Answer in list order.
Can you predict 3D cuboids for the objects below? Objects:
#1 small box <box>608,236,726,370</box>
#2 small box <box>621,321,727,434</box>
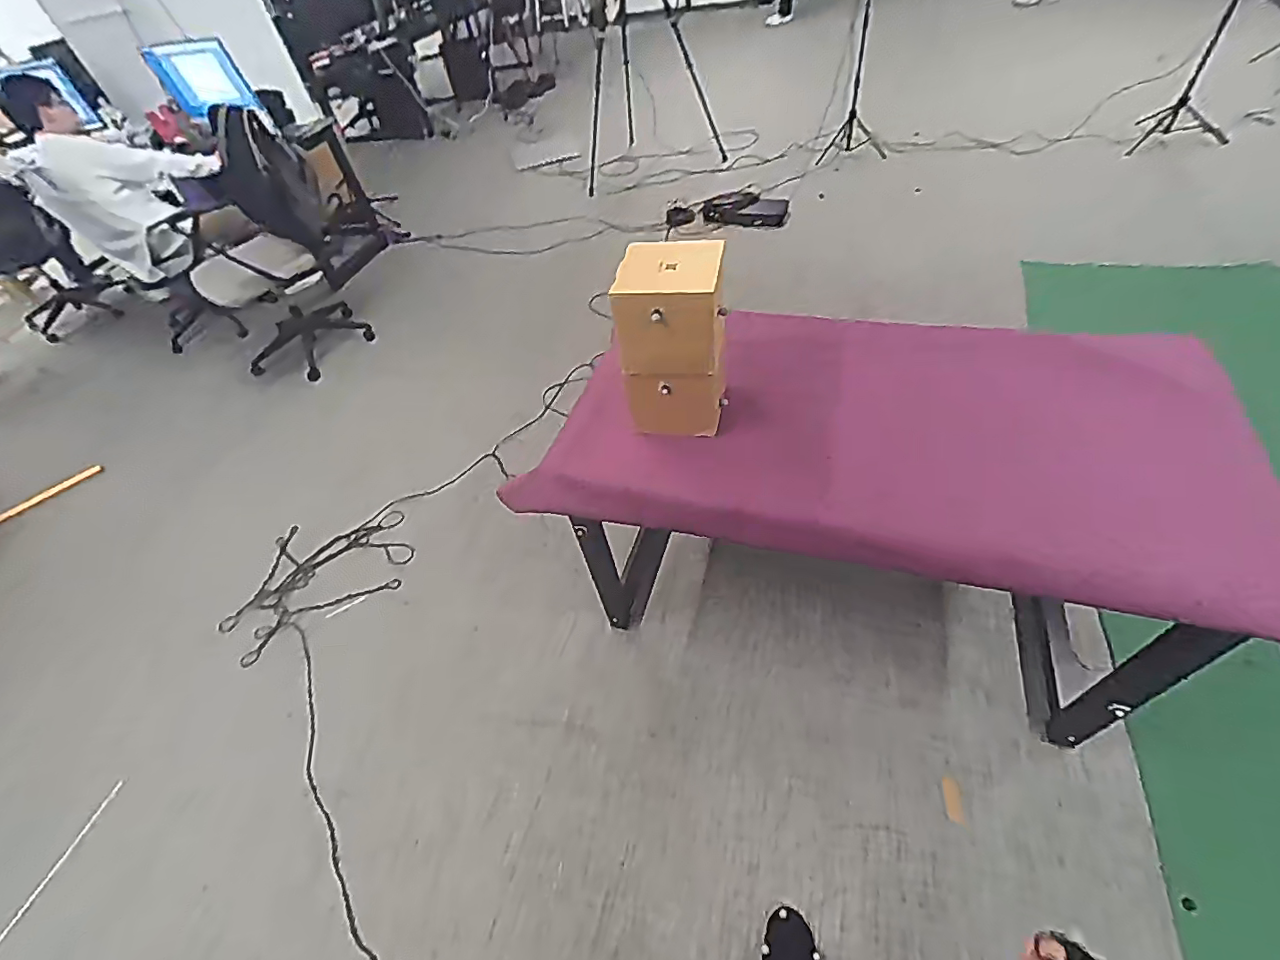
[{"bbox_3d":[0.059,-0.310,0.963,0.179,0.176,0.168,4,52,14],"label":"small box"},{"bbox_3d":[0.077,-0.210,1.088,0.179,0.176,0.168,6,52,14],"label":"small box"}]
